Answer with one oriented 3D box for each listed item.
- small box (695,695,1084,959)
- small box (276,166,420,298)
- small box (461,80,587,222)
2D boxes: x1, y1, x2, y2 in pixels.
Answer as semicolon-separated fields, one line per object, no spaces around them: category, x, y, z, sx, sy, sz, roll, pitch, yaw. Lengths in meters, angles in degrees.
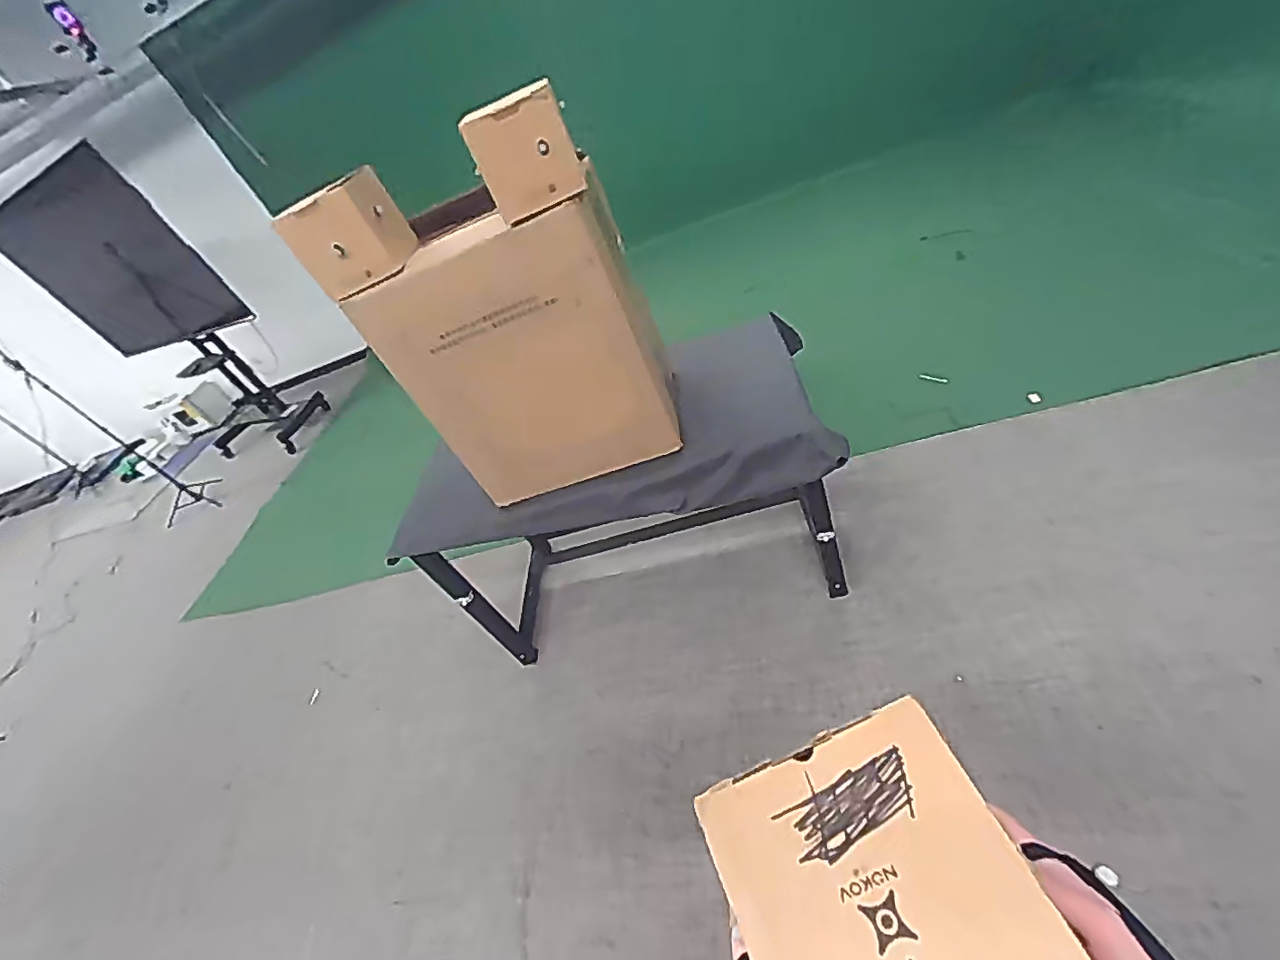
small box;0.159;0.281;0.373;0.168;0.176;0.179;-27;53;3
small box;-0.575;-0.494;1.093;0.168;0.176;0.179;-20;40;11
small box;-0.205;-0.602;0.997;0.168;0.176;0.179;-20;39;6
